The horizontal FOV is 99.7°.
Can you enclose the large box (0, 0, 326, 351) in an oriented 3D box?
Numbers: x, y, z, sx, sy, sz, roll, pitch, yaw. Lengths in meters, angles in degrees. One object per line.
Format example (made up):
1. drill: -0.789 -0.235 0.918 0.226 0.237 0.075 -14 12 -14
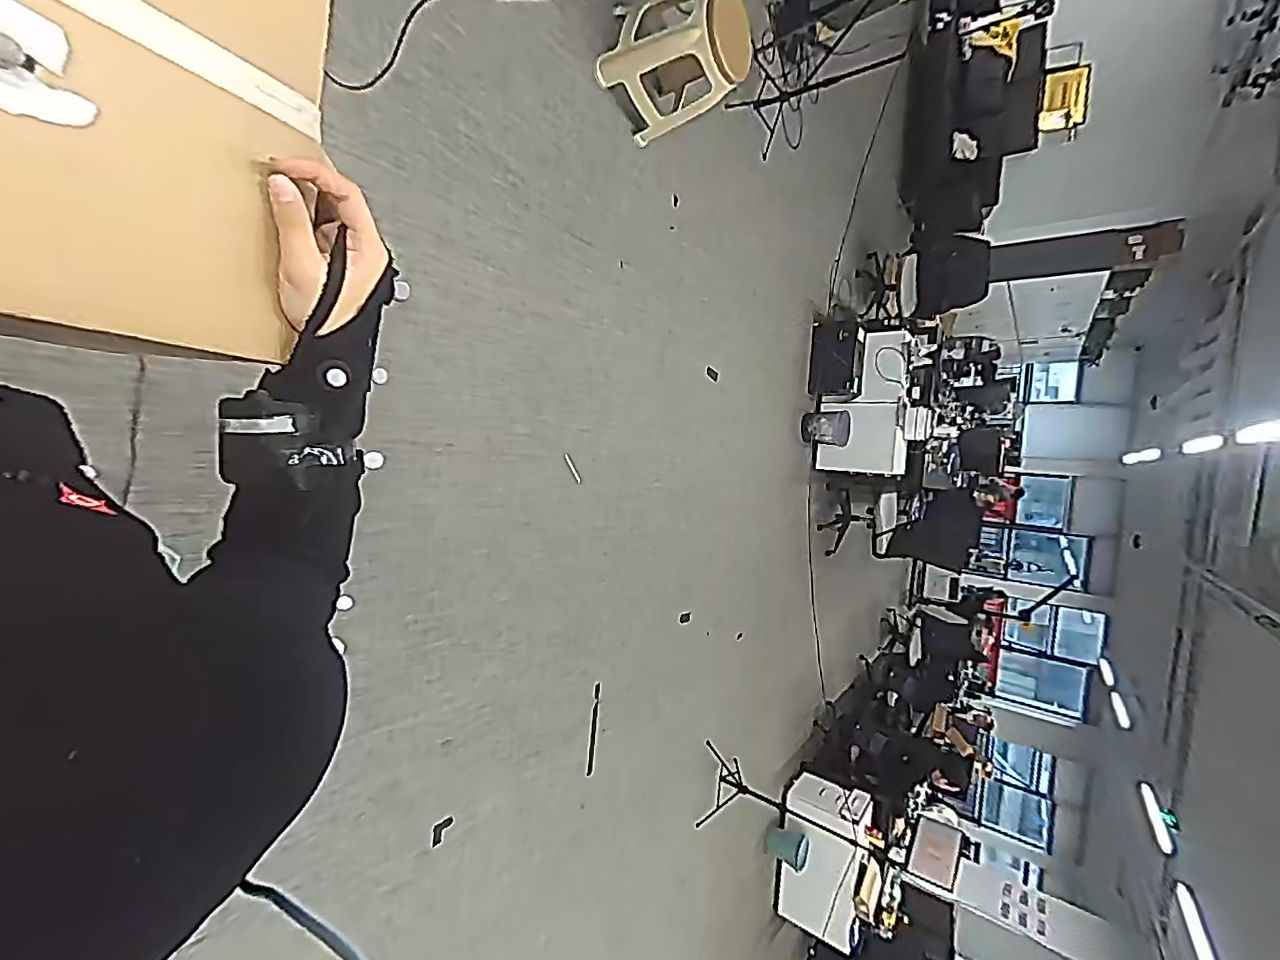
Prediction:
1. large box: -0.446 -0.258 0.264 0.408 0.320 0.320 1 98 -61
